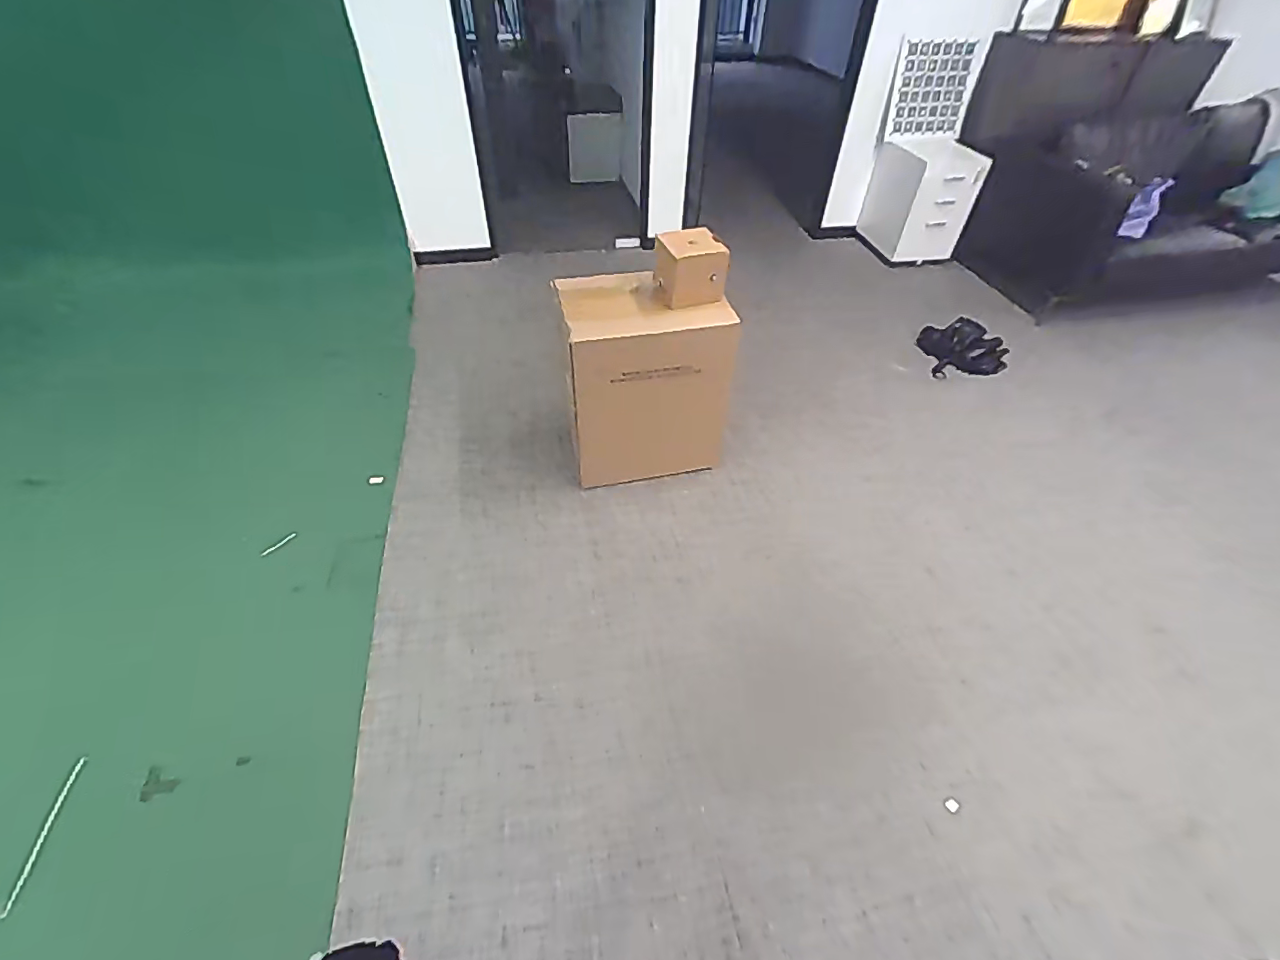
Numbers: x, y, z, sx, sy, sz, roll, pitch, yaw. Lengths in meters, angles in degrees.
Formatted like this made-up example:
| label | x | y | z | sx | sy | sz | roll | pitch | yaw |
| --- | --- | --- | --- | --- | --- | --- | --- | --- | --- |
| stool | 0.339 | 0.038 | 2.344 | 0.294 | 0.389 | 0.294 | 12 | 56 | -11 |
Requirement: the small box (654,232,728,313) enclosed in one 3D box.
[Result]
| label | x | y | z | sx | sy | sz | roll | pitch | yaw |
| --- | --- | --- | --- | --- | --- | --- | --- | --- | --- |
| small box | 0.154 | -0.649 | 1.696 | 0.179 | 0.176 | 0.168 | -16 | 51 | -15 |
